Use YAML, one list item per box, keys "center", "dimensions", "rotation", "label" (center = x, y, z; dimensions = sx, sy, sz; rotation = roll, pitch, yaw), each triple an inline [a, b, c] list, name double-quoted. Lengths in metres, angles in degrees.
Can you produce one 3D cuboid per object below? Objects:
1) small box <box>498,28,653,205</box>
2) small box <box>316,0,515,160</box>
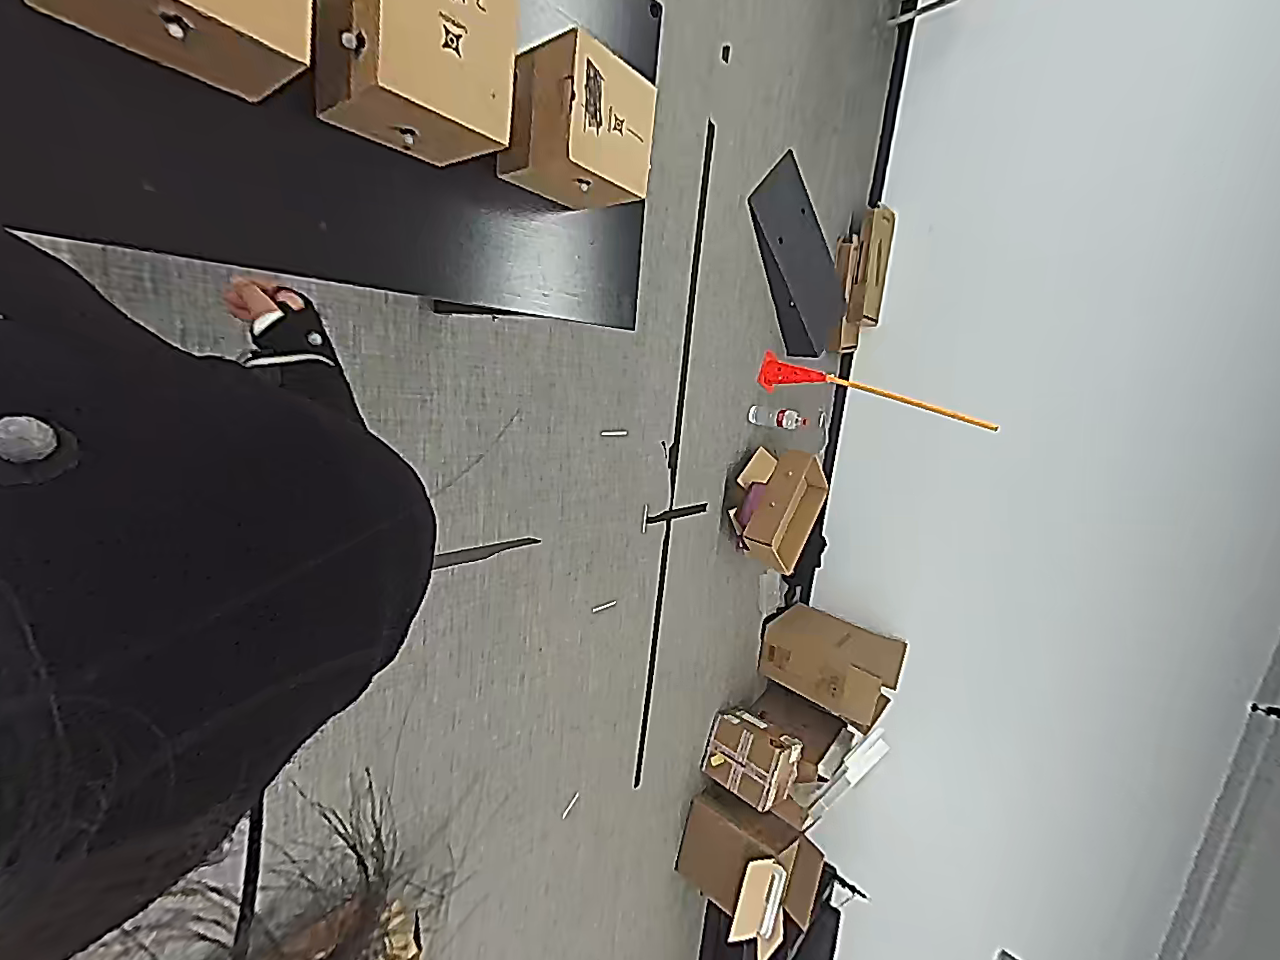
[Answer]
- center: [-0.105, -0.552, 0.856]
  dimensions: [0.179, 0.176, 0.168]
  rotation: [-6, 106, -50]
  label: "small box"
- center: [-0.276, -0.519, 0.660]
  dimensions: [0.168, 0.176, 0.179]
  rotation: [-6, 107, -50]
  label: "small box"
